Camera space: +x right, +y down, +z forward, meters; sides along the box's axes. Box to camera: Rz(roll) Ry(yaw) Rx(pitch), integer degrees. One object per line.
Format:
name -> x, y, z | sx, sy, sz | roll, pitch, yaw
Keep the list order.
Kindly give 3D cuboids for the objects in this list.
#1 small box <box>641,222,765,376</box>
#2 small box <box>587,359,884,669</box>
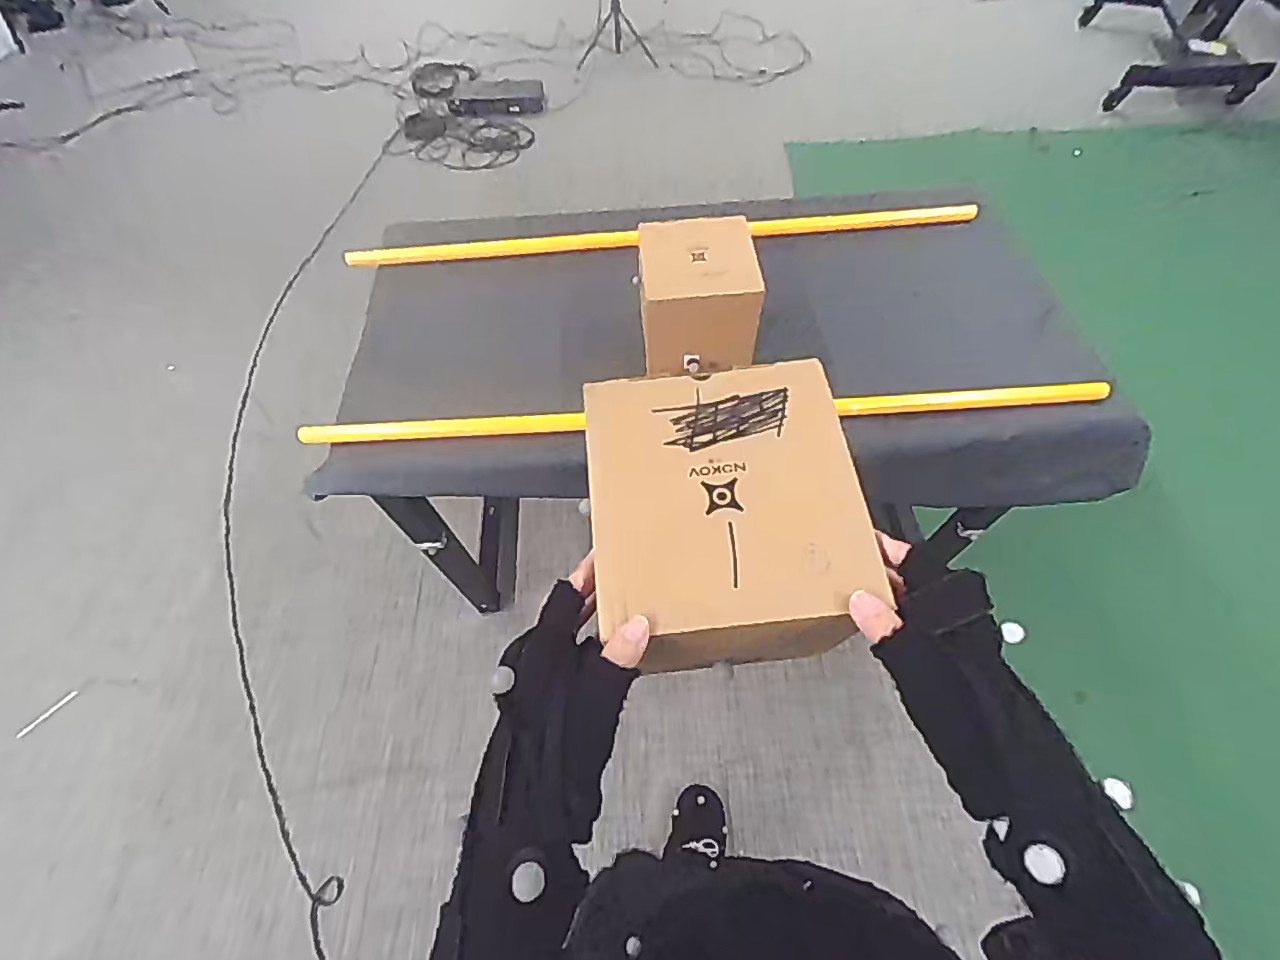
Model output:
small box -> 0.089, -0.274, 0.852 | 0.168, 0.176, 0.179 | -5, 59, 1
small box -> 0.054, 0.036, 0.412 | 0.168, 0.176, 0.179 | -7, 63, 1
